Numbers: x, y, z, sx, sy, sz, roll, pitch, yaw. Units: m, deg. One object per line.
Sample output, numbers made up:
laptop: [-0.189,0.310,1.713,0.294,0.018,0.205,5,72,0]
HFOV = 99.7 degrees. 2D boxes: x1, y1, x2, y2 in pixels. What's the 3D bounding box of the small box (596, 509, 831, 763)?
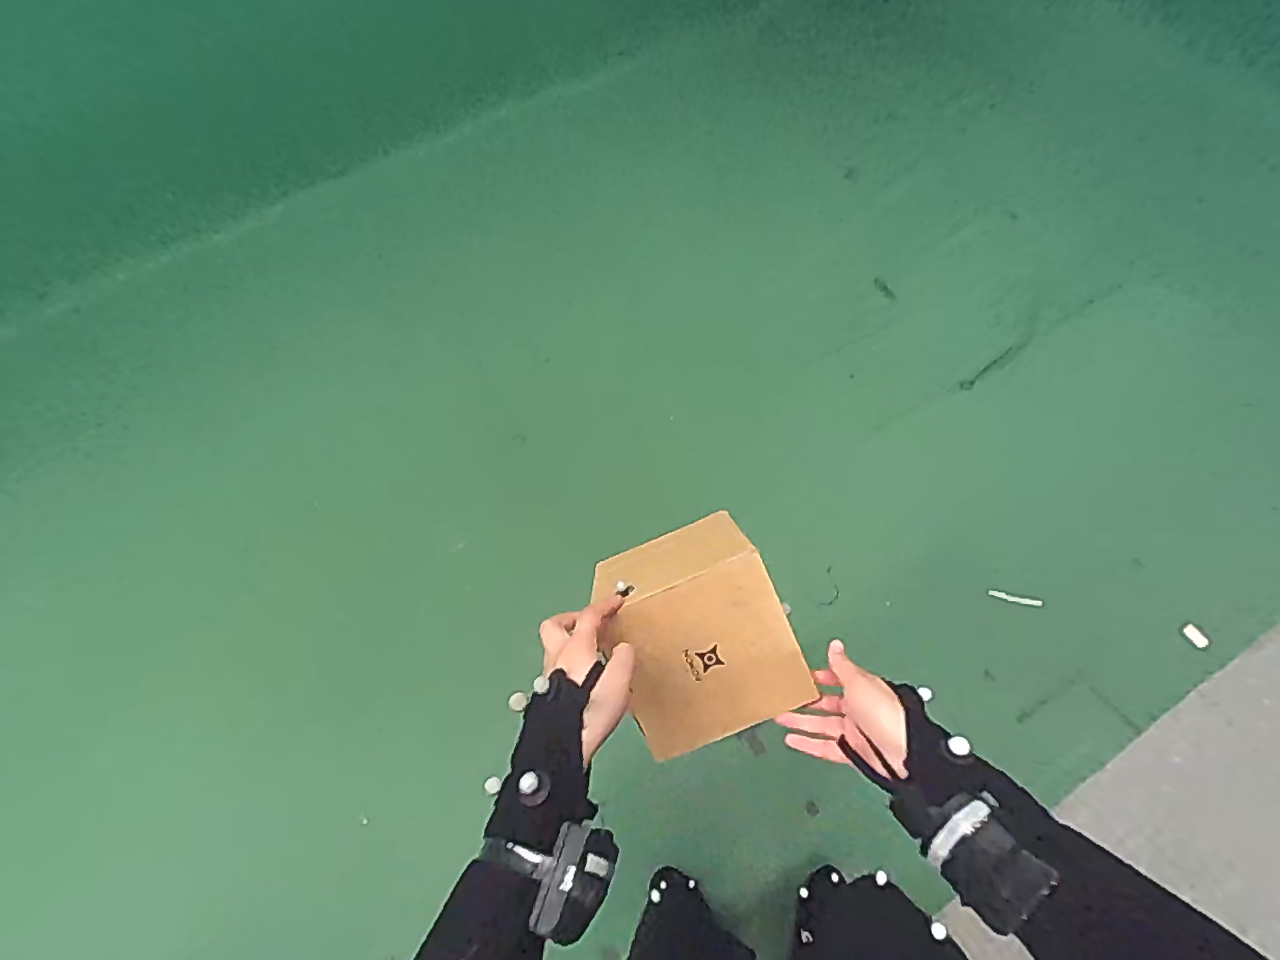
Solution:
small box: [0.067,0.148,0.574,0.179,0.176,0.168,-25,99,4]
